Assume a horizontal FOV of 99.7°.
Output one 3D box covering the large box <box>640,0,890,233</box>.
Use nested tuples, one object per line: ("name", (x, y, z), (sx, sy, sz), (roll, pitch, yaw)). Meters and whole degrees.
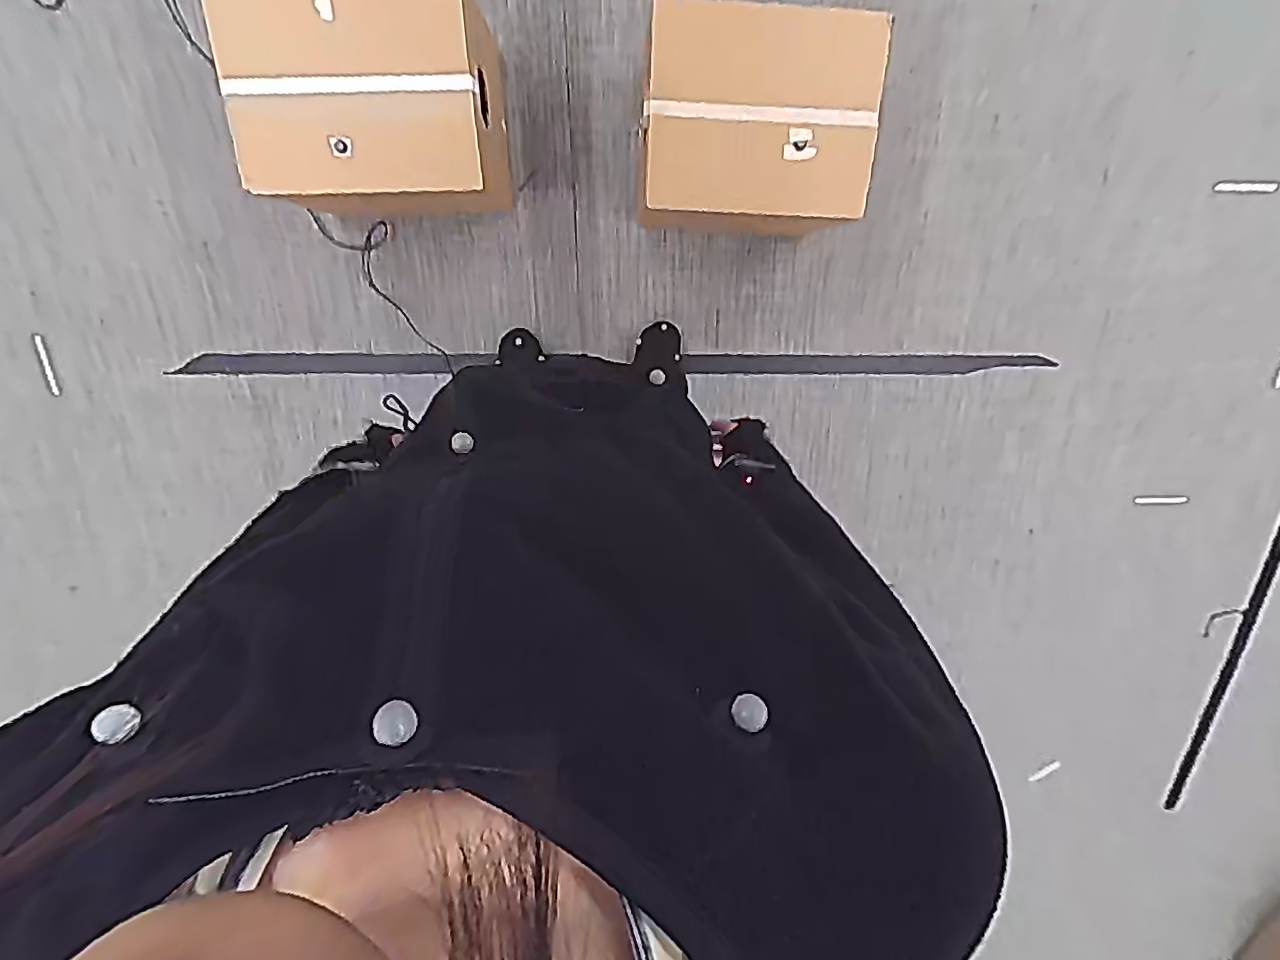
("large box", (0.209, -0.685, 1.082), (0.408, 0.320, 0.320), (1, 109, -4))
